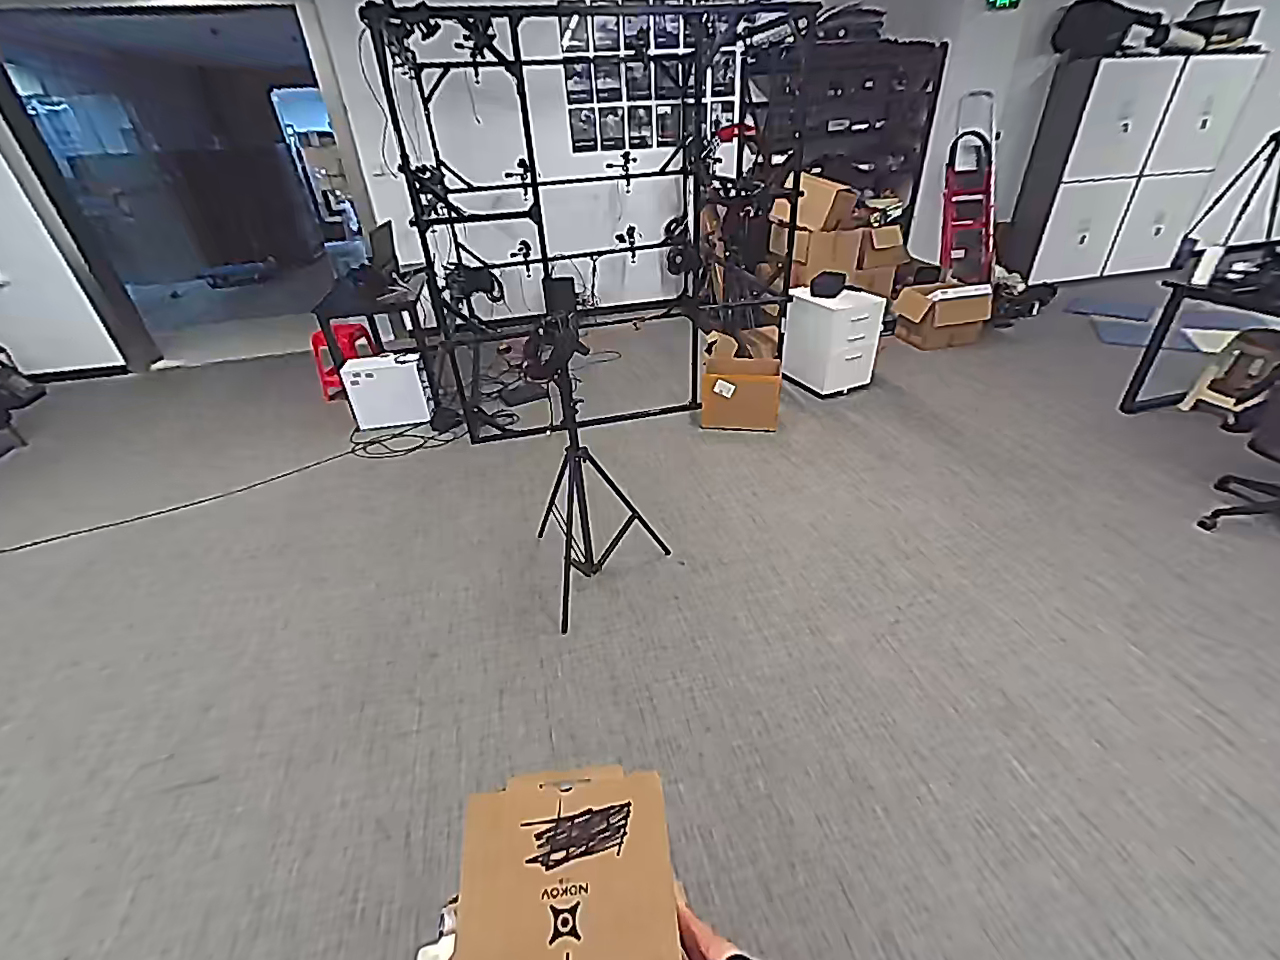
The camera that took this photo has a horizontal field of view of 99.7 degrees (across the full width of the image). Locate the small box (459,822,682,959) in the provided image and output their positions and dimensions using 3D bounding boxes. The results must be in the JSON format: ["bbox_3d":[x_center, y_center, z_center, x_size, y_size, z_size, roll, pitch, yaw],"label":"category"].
[{"bbox_3d":[-0.050,0.412,0.445,0.168,0.176,0.179,-5,44,-4],"label":"small box"}]
